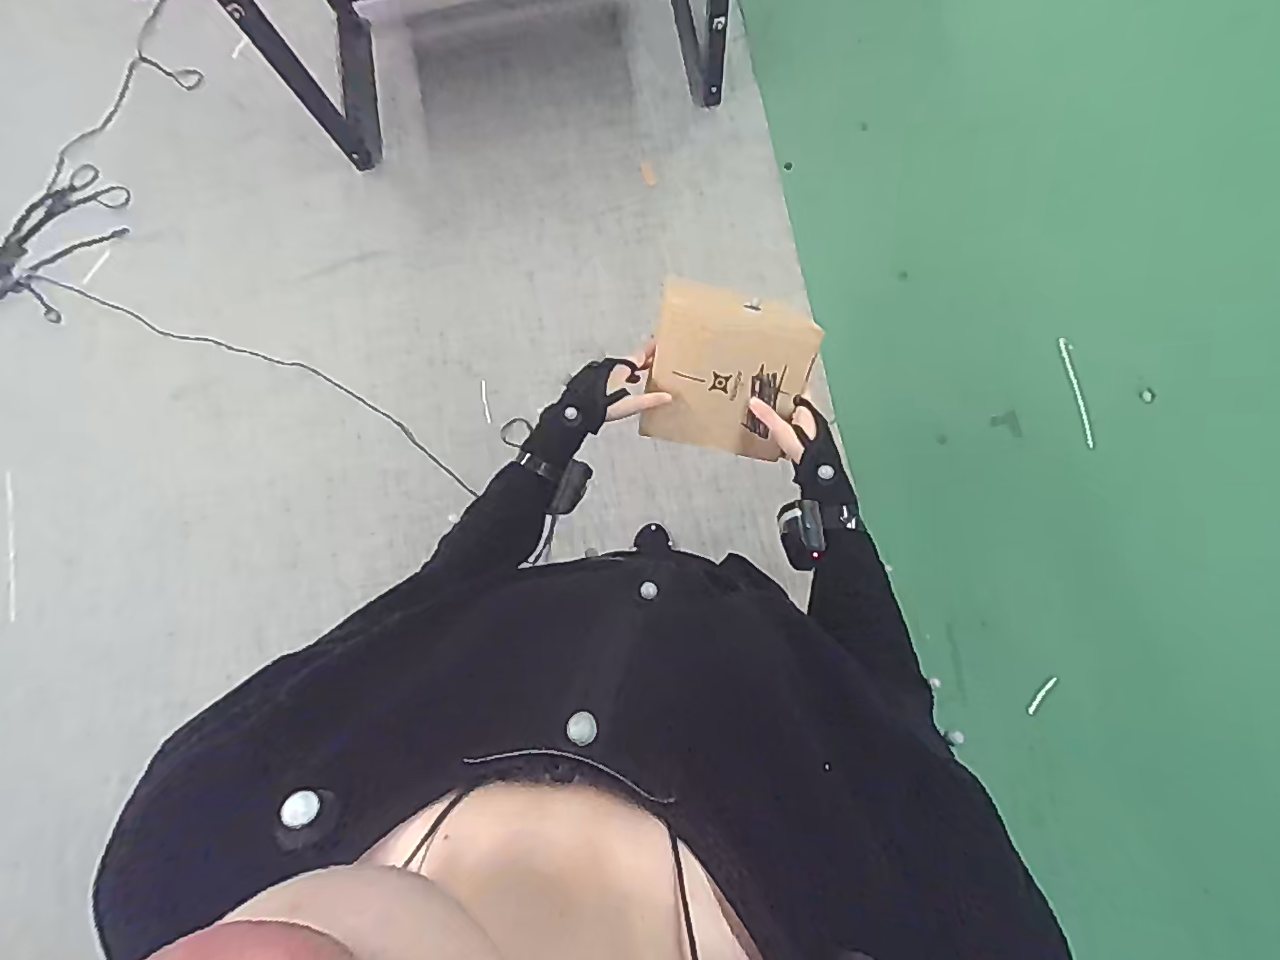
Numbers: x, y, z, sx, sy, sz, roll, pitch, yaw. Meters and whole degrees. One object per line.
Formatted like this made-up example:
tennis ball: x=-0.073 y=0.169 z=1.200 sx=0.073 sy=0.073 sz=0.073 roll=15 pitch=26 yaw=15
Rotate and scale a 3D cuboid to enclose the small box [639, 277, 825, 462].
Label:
small box: x=0.102 y=-0.146 z=0.681 sx=0.179 sy=0.176 sz=0.168 roll=11 pitch=120 yaw=-3
